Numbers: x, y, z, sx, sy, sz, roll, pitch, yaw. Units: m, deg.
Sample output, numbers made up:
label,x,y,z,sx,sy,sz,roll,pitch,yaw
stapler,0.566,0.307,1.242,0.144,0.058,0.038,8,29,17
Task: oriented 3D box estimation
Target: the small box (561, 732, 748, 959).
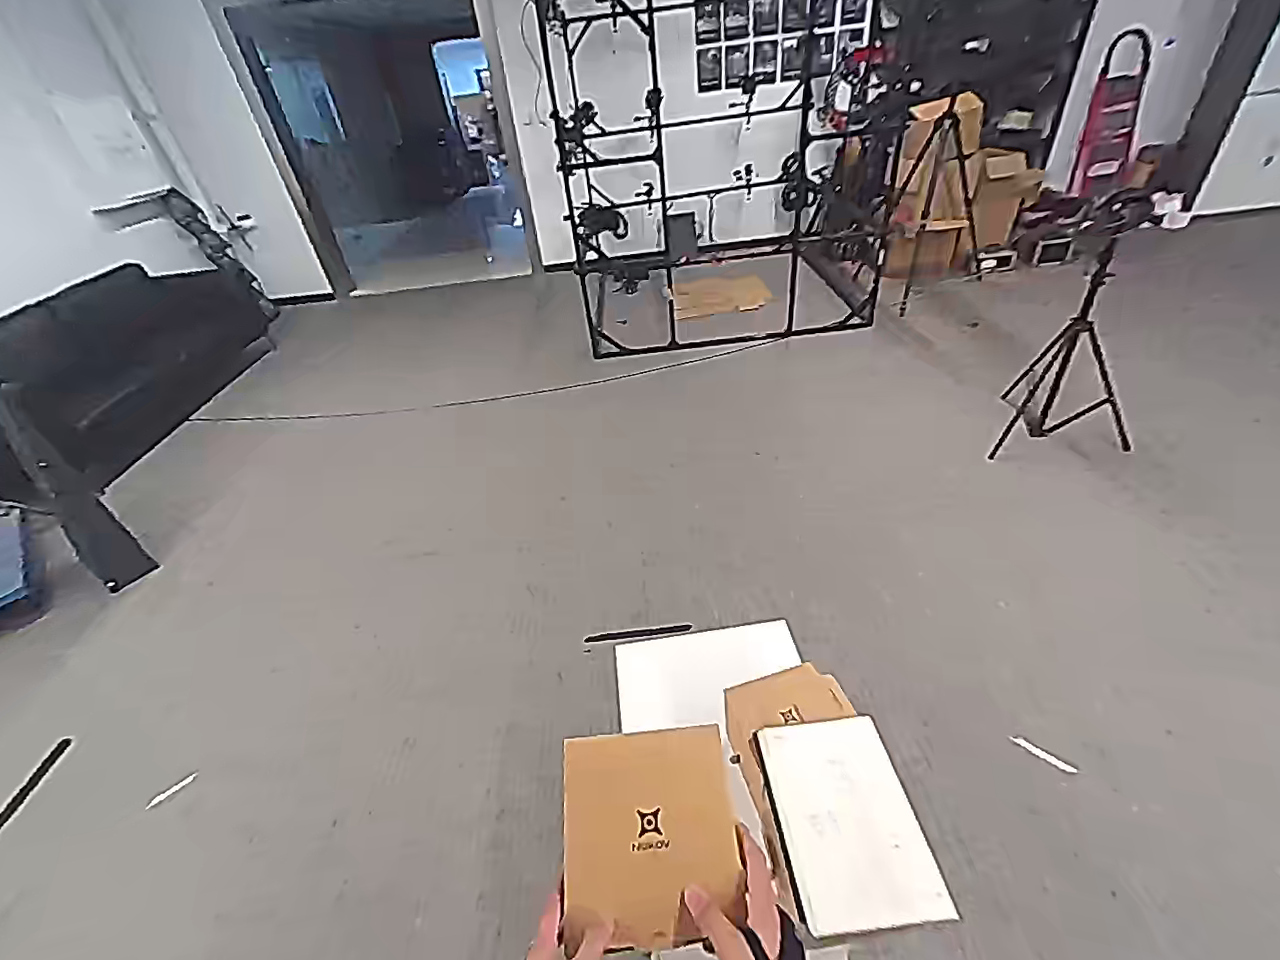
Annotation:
label,x,y,z,sx,sy,sz,roll,pitch,yaw
small box,0.008,0.387,0.580,0.168,0.176,0.179,-3,54,-2
